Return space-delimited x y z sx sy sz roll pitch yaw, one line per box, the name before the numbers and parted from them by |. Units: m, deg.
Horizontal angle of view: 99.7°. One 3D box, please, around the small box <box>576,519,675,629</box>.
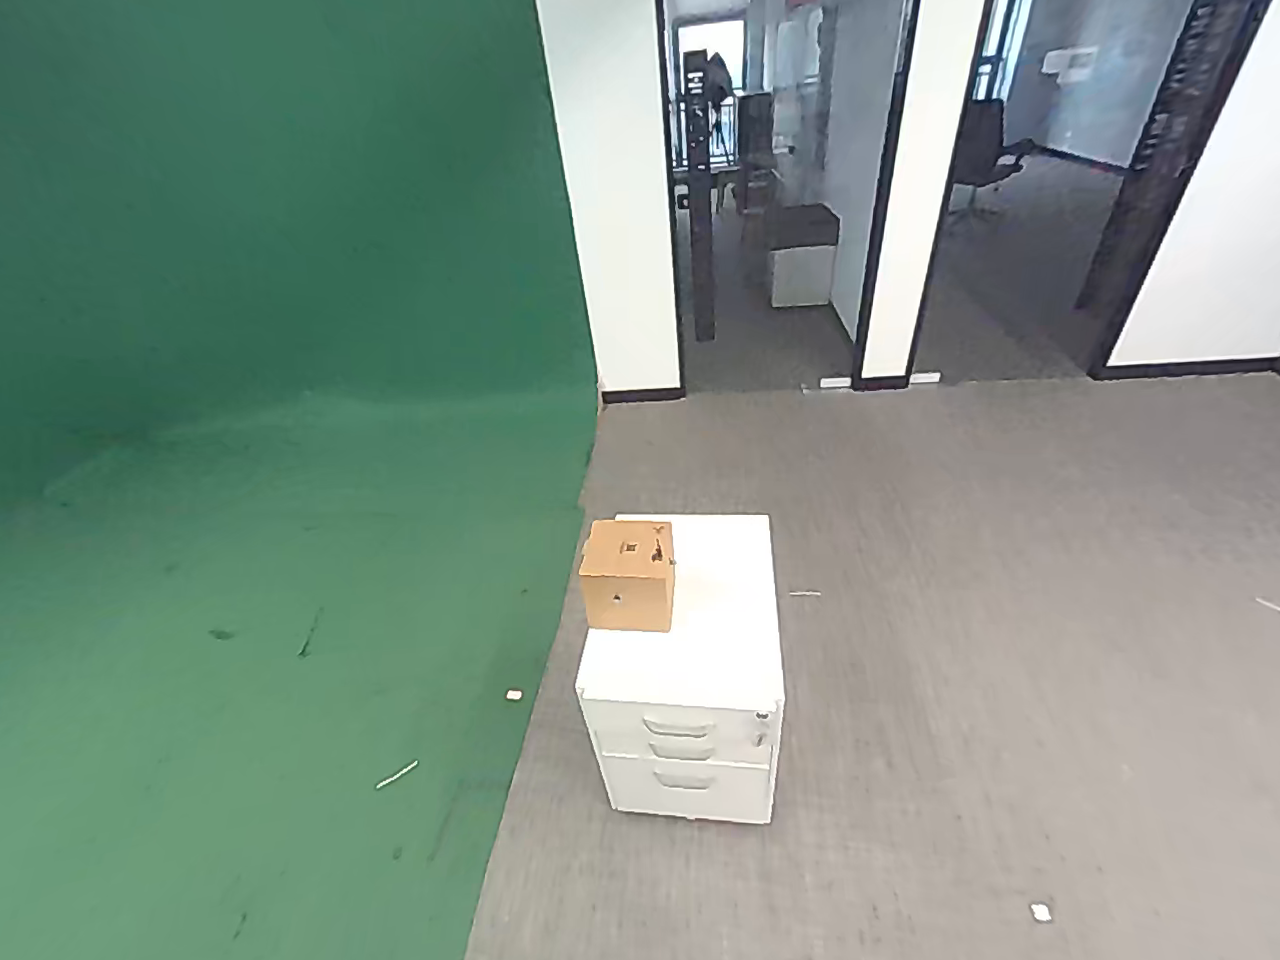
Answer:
small box | -0.022 0.199 1.147 0.179 0.176 0.168 0 38 9
